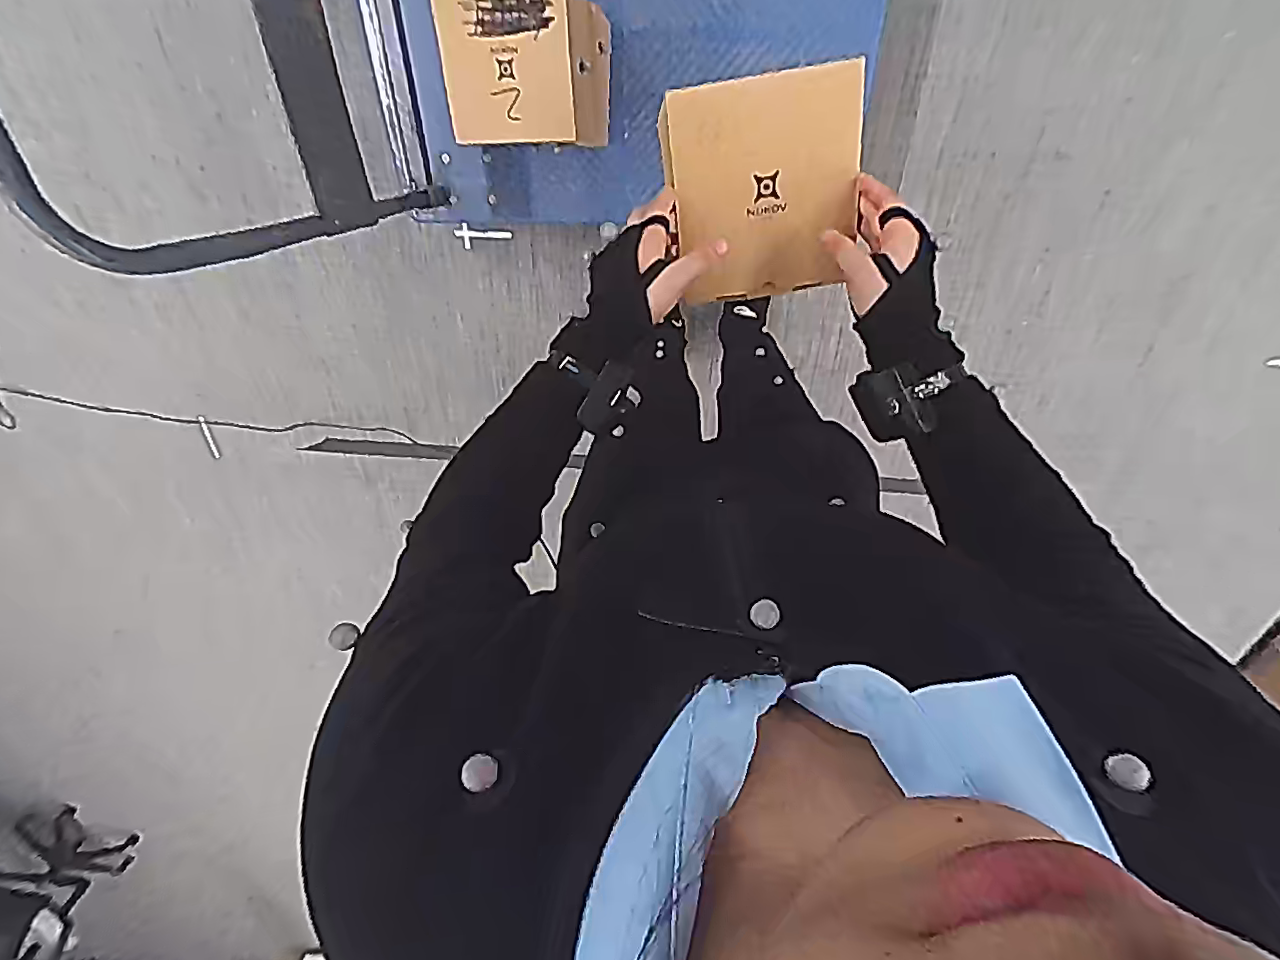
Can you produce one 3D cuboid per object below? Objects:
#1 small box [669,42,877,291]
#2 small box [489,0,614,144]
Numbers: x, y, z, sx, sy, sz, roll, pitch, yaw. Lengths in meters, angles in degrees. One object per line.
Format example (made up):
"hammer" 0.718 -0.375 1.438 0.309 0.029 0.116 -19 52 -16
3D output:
"small box" 0.122 -0.306 0.549 0.168 0.176 0.179 -7 119 4
"small box" -0.134 -0.651 0.870 0.168 0.176 0.179 6 123 2
